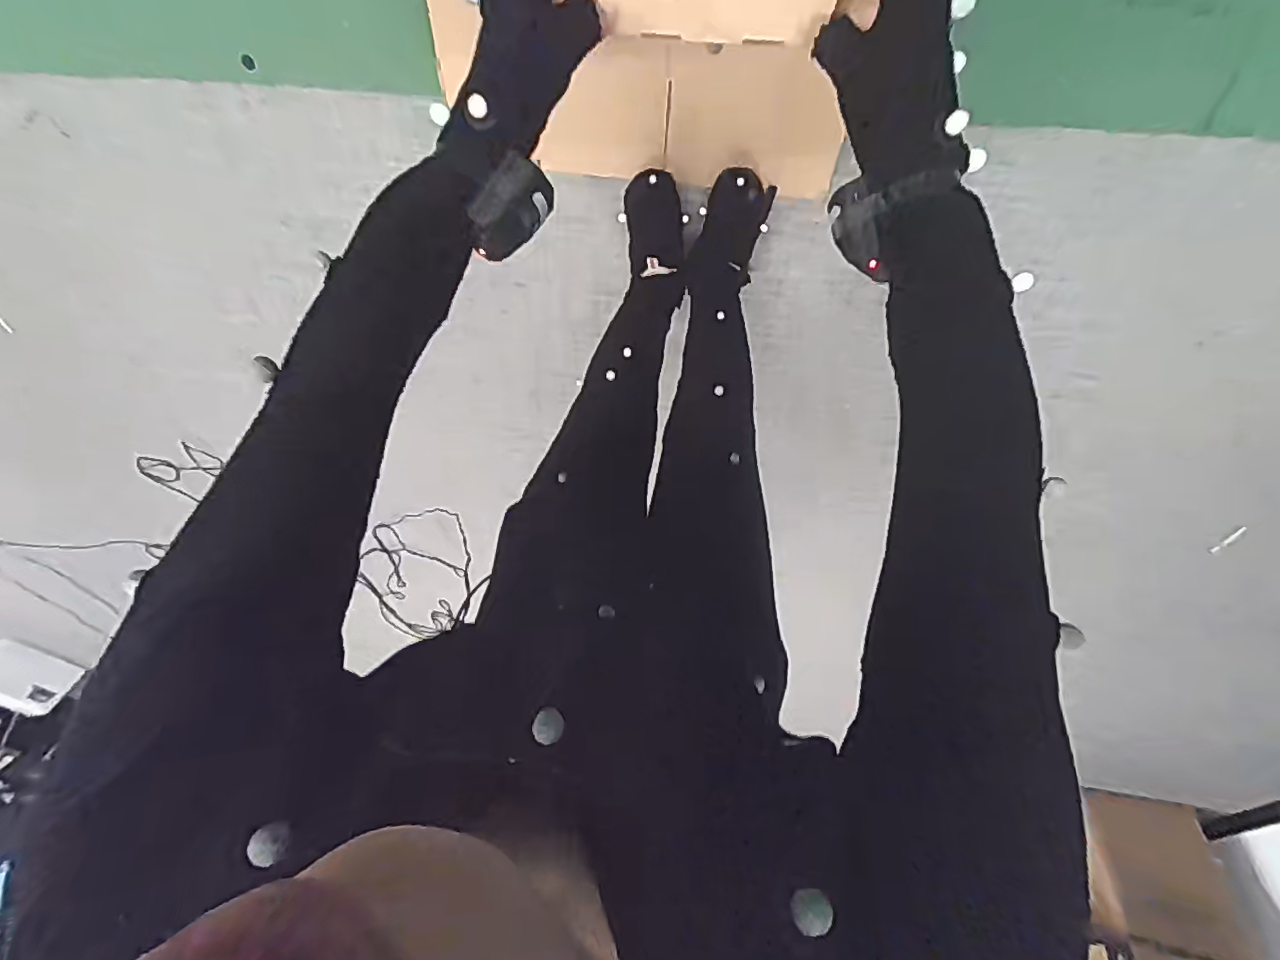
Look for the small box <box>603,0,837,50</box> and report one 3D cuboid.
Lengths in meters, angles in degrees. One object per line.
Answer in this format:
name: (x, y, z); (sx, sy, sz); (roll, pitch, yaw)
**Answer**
small box: (0.069, -0.436, 0.391); (0.168, 0.176, 0.179); (8, 134, 5)
